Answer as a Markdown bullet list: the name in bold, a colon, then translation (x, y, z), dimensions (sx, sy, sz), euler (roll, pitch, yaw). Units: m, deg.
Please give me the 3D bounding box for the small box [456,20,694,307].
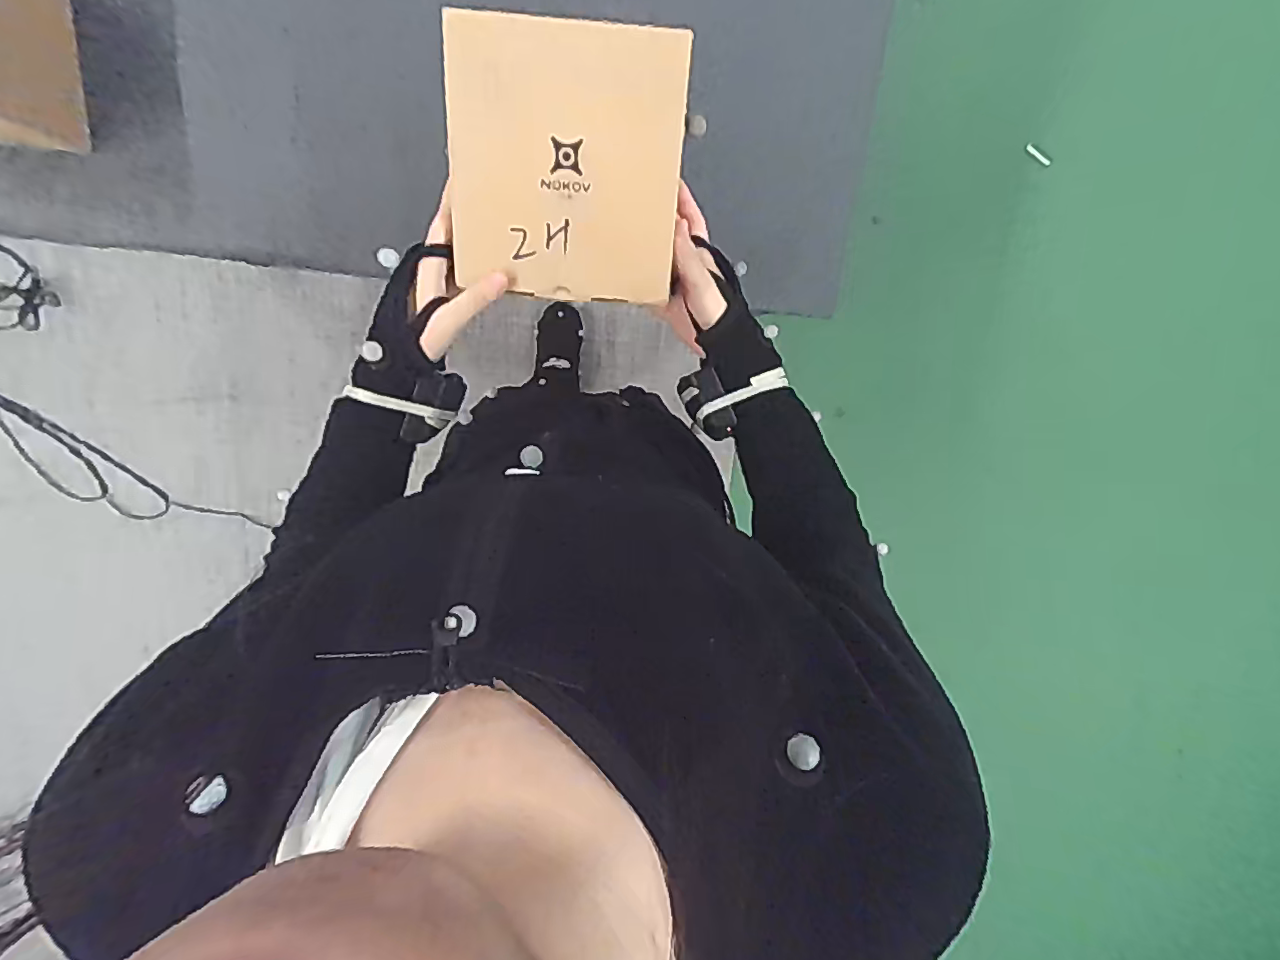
- **small box**: translation (-0.048, -0.252, 0.470), dimensions (0.168, 0.176, 0.179), euler (5, 112, 1)
